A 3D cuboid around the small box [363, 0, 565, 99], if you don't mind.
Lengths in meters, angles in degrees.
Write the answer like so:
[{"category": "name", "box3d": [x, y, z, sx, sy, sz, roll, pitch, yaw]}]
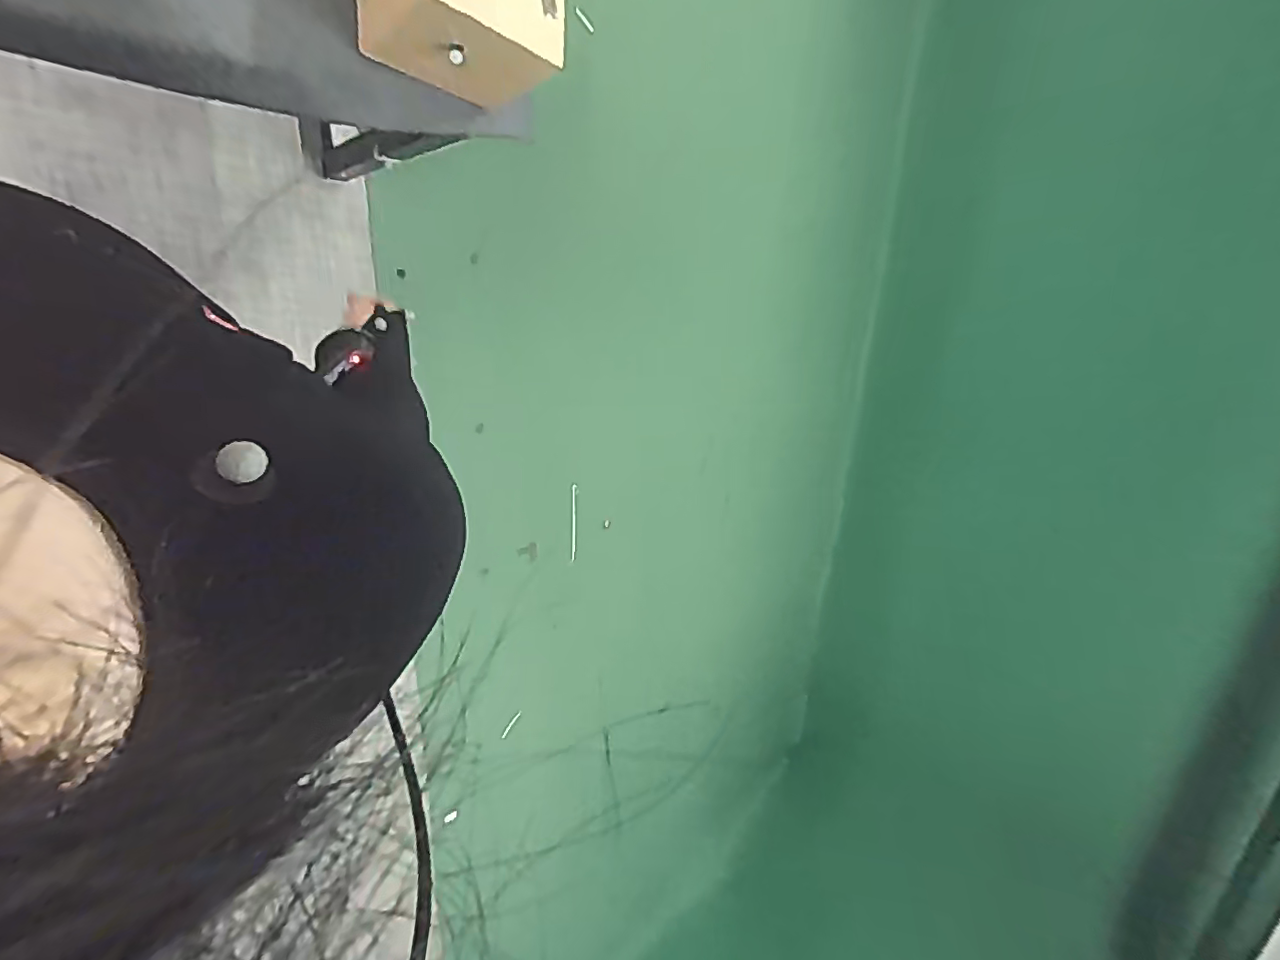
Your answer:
[{"category": "small box", "box3d": [-0.204, -0.575, 0.619, 0.179, 0.176, 0.168, -8, 106, -45]}]
